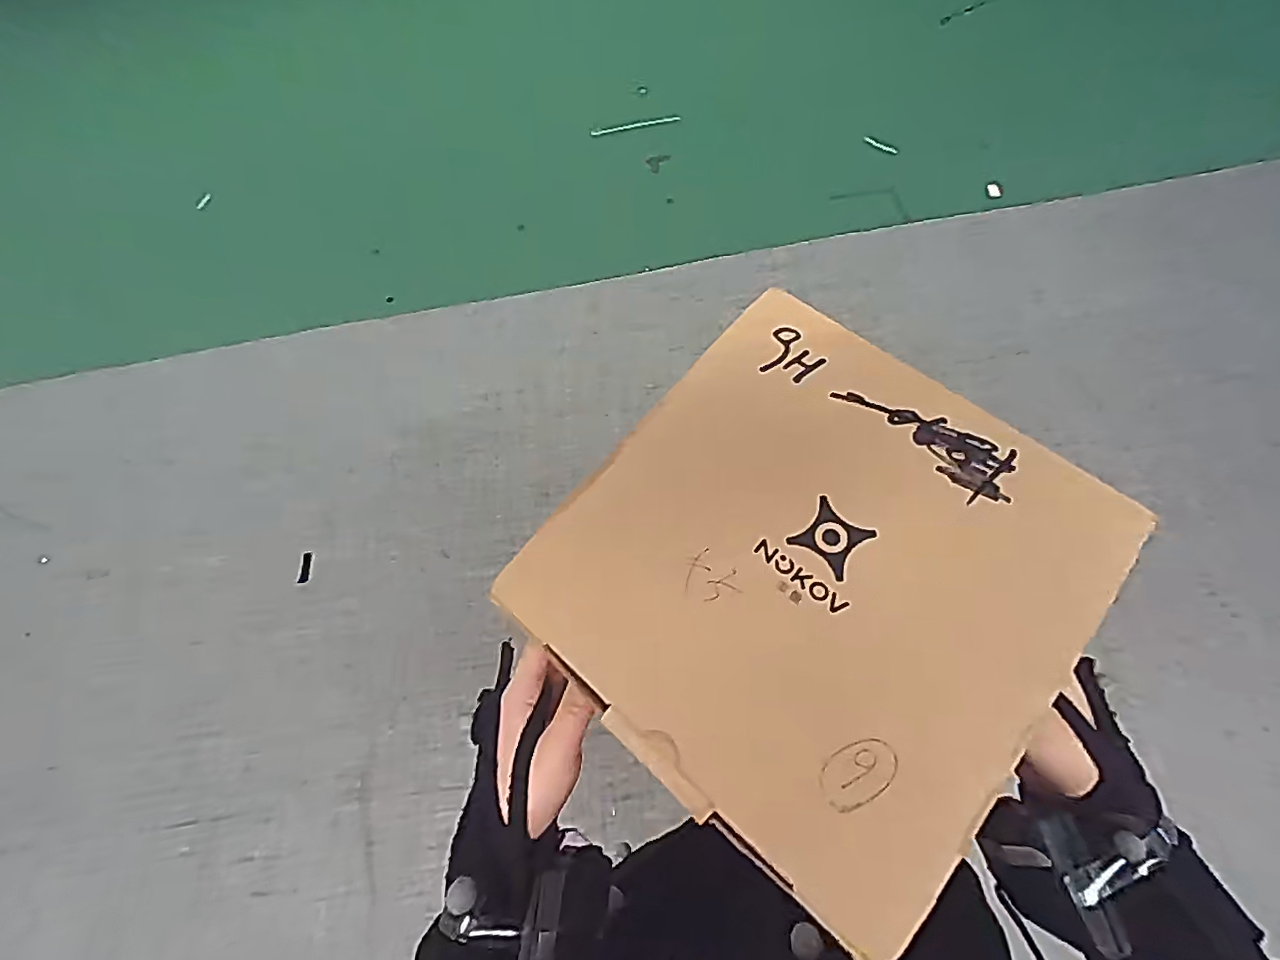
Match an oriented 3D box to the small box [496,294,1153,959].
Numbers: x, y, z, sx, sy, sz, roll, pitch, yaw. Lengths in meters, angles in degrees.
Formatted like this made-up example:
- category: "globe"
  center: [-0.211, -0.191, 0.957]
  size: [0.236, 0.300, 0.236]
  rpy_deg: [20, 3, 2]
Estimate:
- category: "small box"
  center: [0.069, 0.056, 0.267]
  size: [0.168, 0.176, 0.179]
  rpy_deg: [38, 77, 18]
